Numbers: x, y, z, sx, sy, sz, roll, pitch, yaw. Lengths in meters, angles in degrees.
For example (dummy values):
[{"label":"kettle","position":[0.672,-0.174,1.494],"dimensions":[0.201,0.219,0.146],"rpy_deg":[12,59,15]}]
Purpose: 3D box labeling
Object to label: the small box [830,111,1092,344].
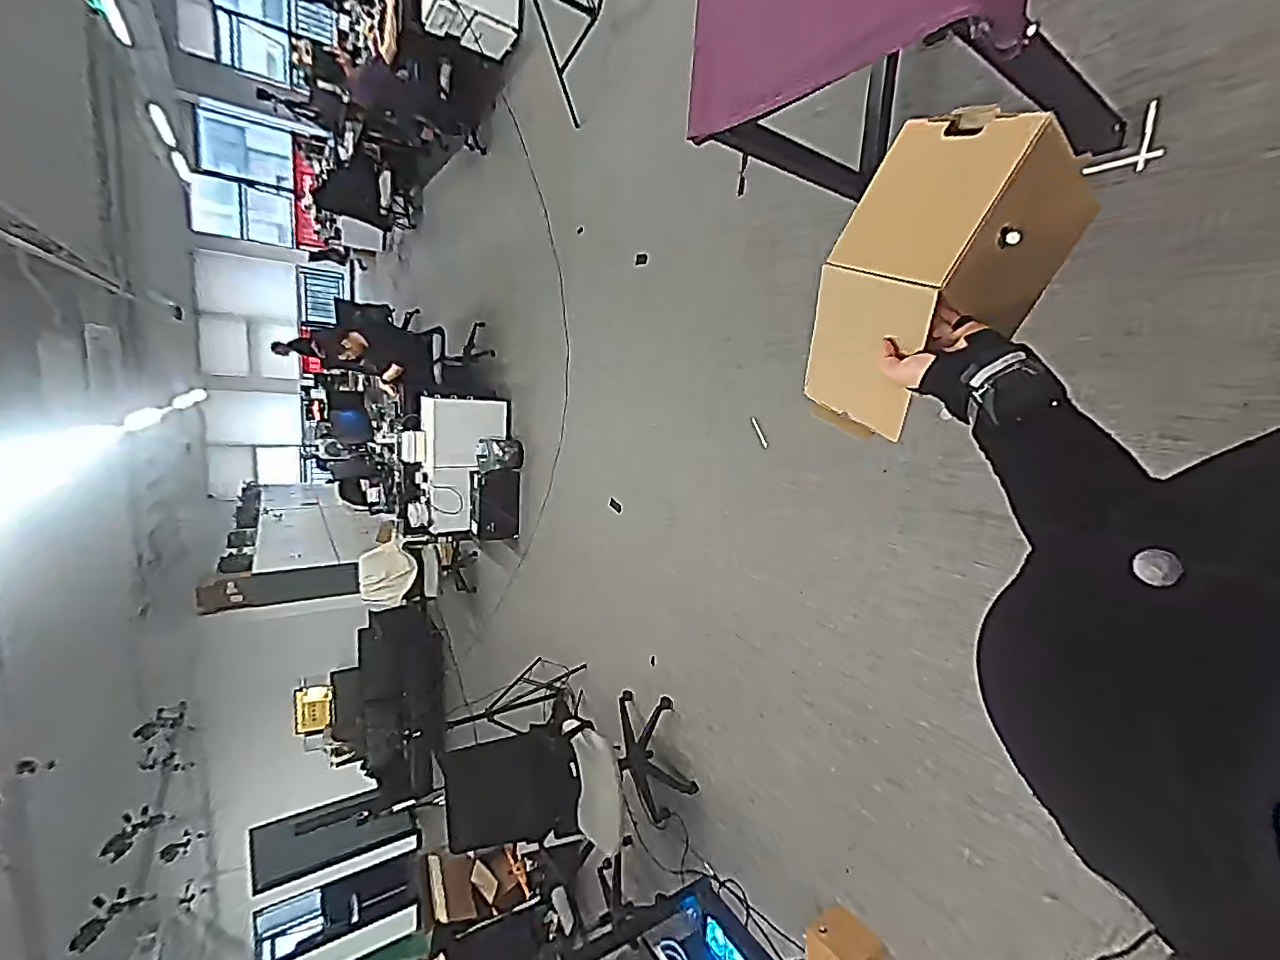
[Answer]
[{"label":"small box","position":[0.366,-0.280,0.622],"dimensions":[0.179,0.176,0.168],"rpy_deg":[-61,37,15]}]
